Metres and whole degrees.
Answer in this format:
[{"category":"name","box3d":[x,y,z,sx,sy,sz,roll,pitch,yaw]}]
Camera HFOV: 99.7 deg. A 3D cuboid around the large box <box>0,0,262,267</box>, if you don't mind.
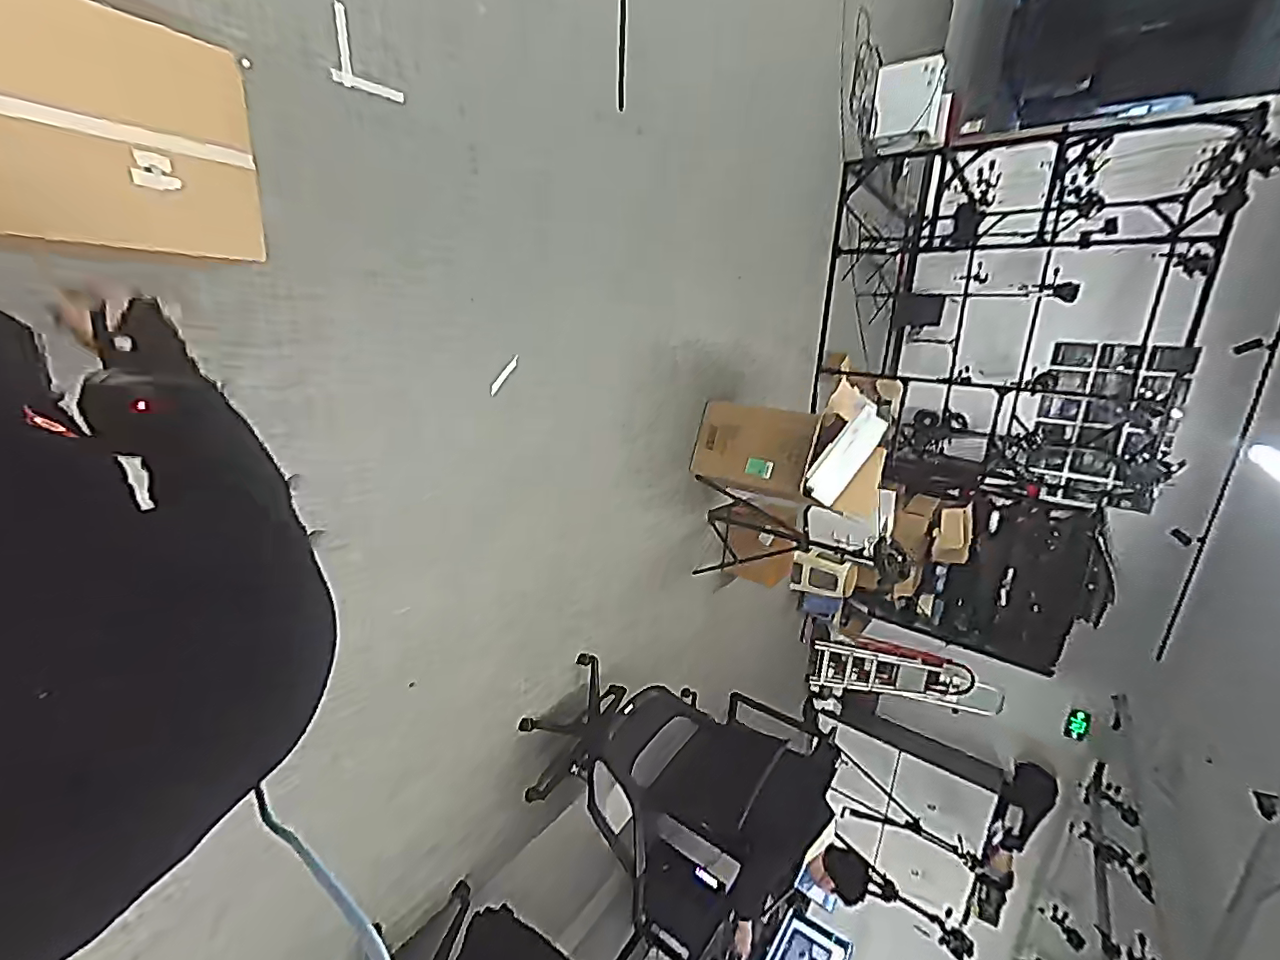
[{"category":"large box","box3d":[-0.889,-0.512,0.825,0.408,0.320,0.320,-19,117,-52]}]
